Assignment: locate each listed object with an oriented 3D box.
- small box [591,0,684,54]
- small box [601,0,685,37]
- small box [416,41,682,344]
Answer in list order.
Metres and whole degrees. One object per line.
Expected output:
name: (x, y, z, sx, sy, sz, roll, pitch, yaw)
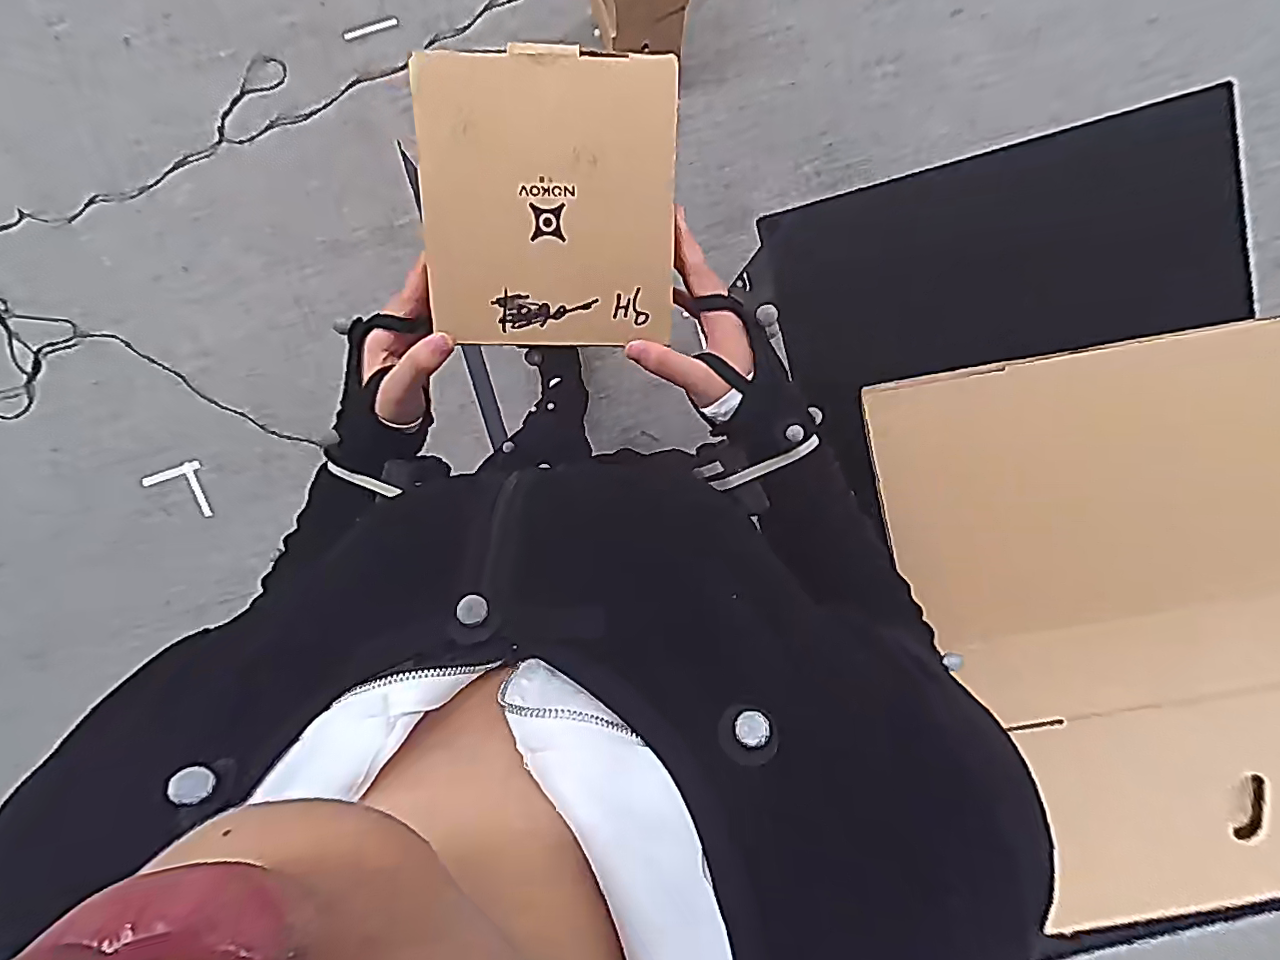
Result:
small box: (-0.011, -1.072, 1.249, 0.179, 0.176, 0.168, -19, 98, 3)
small box: (-0.006, -1.052, 1.088, 0.179, 0.176, 0.168, -23, 98, 2)
small box: (-0.060, -0.200, 0.428, 0.168, 0.176, 0.179, 0, 105, -1)
